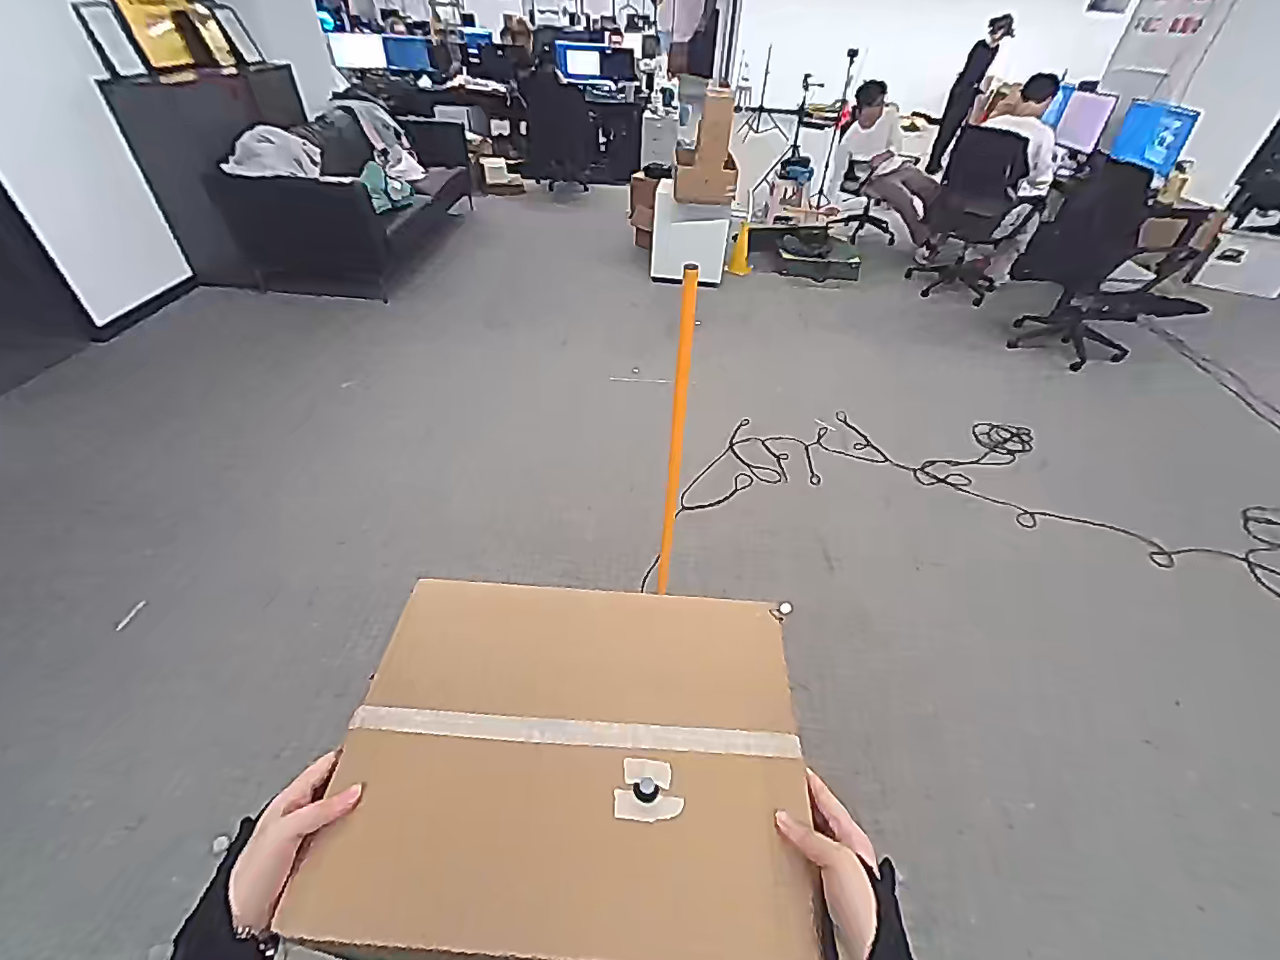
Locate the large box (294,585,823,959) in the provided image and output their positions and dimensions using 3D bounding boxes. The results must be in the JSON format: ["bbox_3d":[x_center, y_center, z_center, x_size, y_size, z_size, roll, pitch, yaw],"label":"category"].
[{"bbox_3d":[-0.063,0.343,0.607,0.408,0.320,0.320,4,43,0],"label":"large box"}]
